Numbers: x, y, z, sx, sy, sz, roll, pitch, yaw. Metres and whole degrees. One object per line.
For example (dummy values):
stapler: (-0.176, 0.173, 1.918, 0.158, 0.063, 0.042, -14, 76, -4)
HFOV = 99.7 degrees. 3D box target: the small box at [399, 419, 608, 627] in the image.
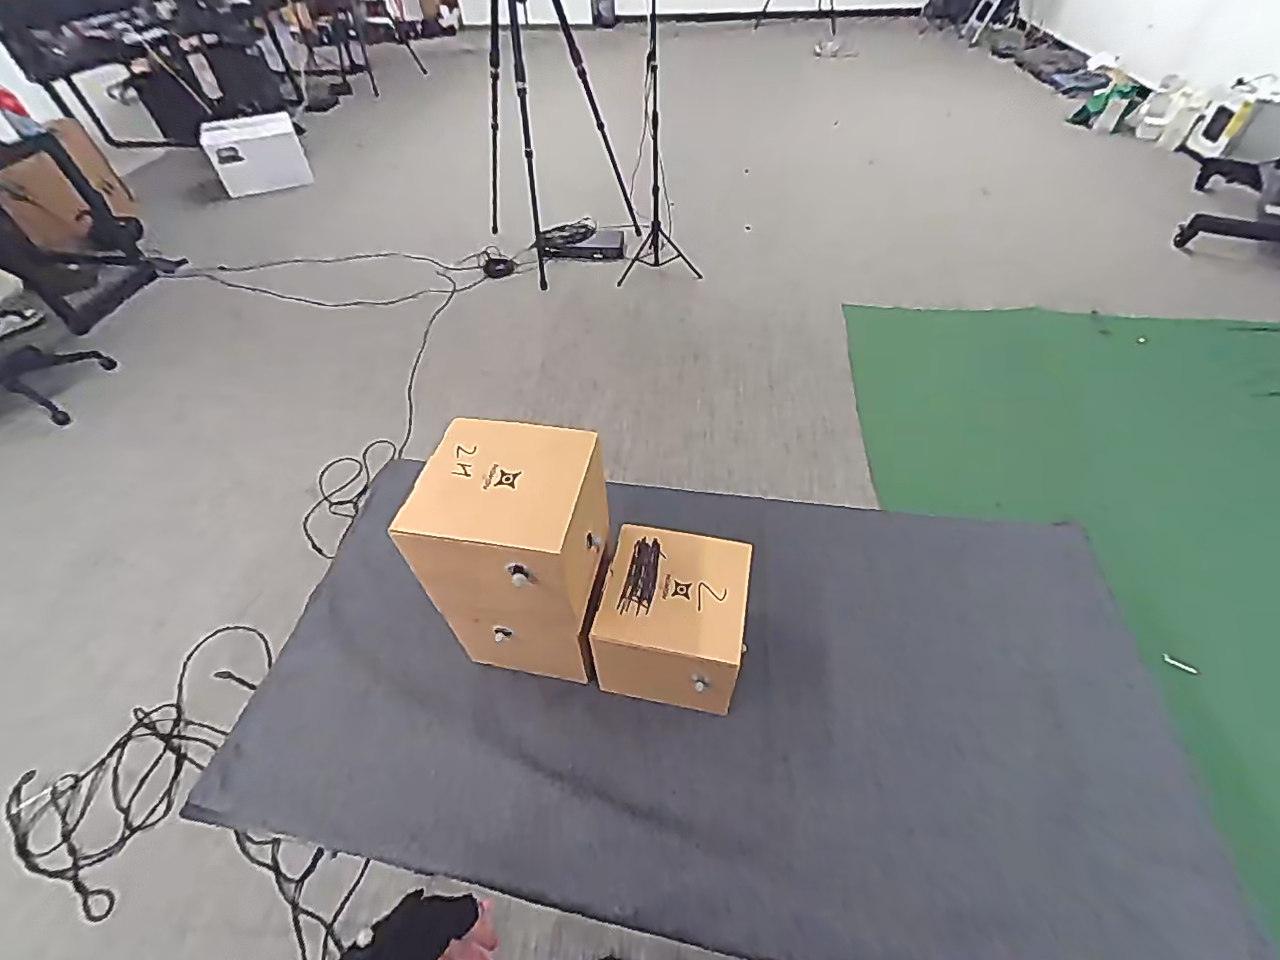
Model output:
small box: (-0.138, 0.053, 0.632, 0.179, 0.176, 0.168, 7, 48, 7)
